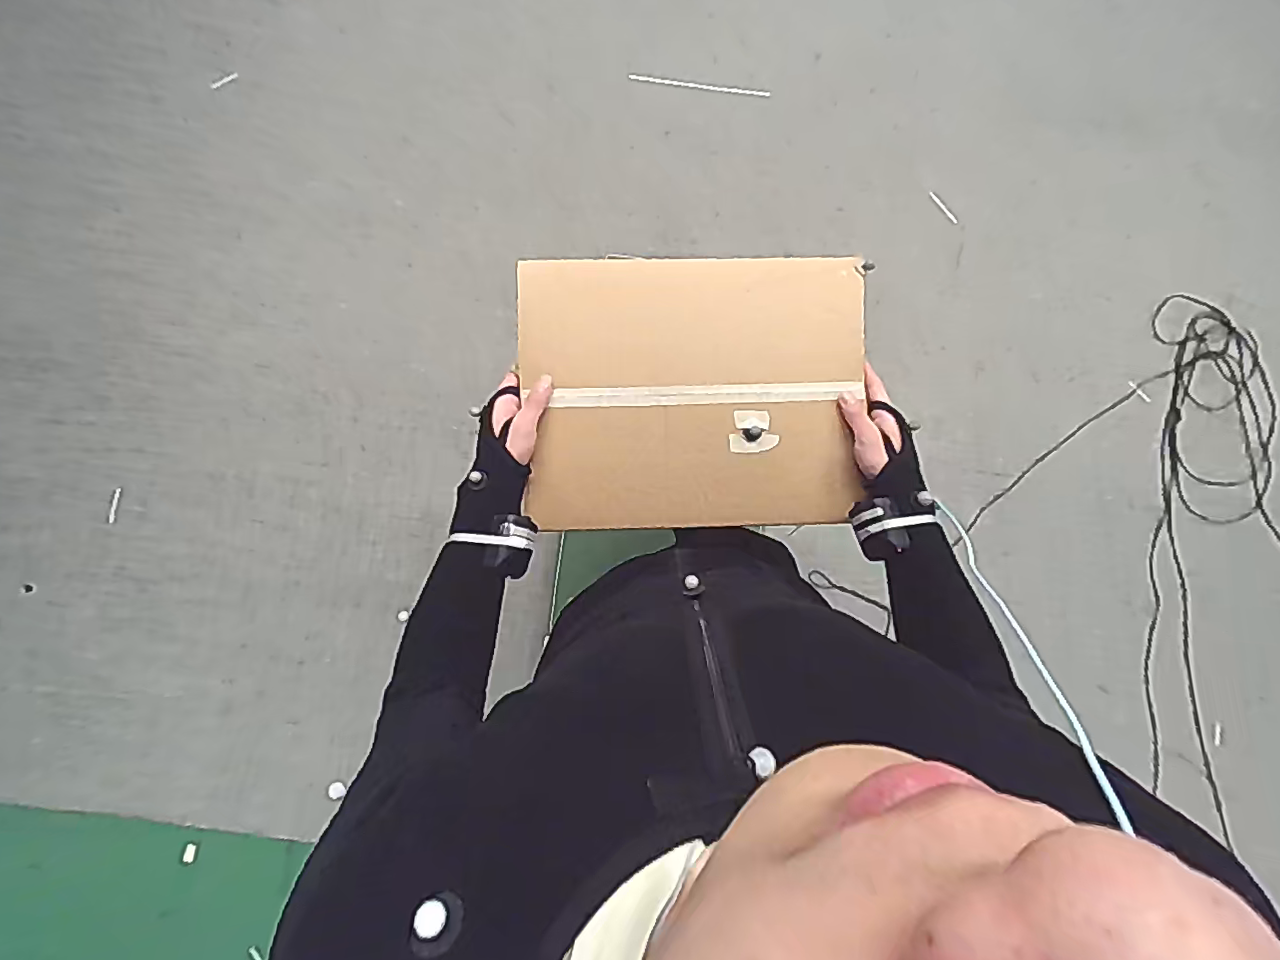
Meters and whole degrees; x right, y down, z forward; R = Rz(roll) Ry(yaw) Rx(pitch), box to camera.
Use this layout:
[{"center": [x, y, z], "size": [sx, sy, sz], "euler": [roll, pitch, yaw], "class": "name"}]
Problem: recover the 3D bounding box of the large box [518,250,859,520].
[{"center": [0.053, -0.119, 0.790], "size": [0.408, 0.320, 0.320], "euler": [-2, 93, -3], "class": "large box"}]
